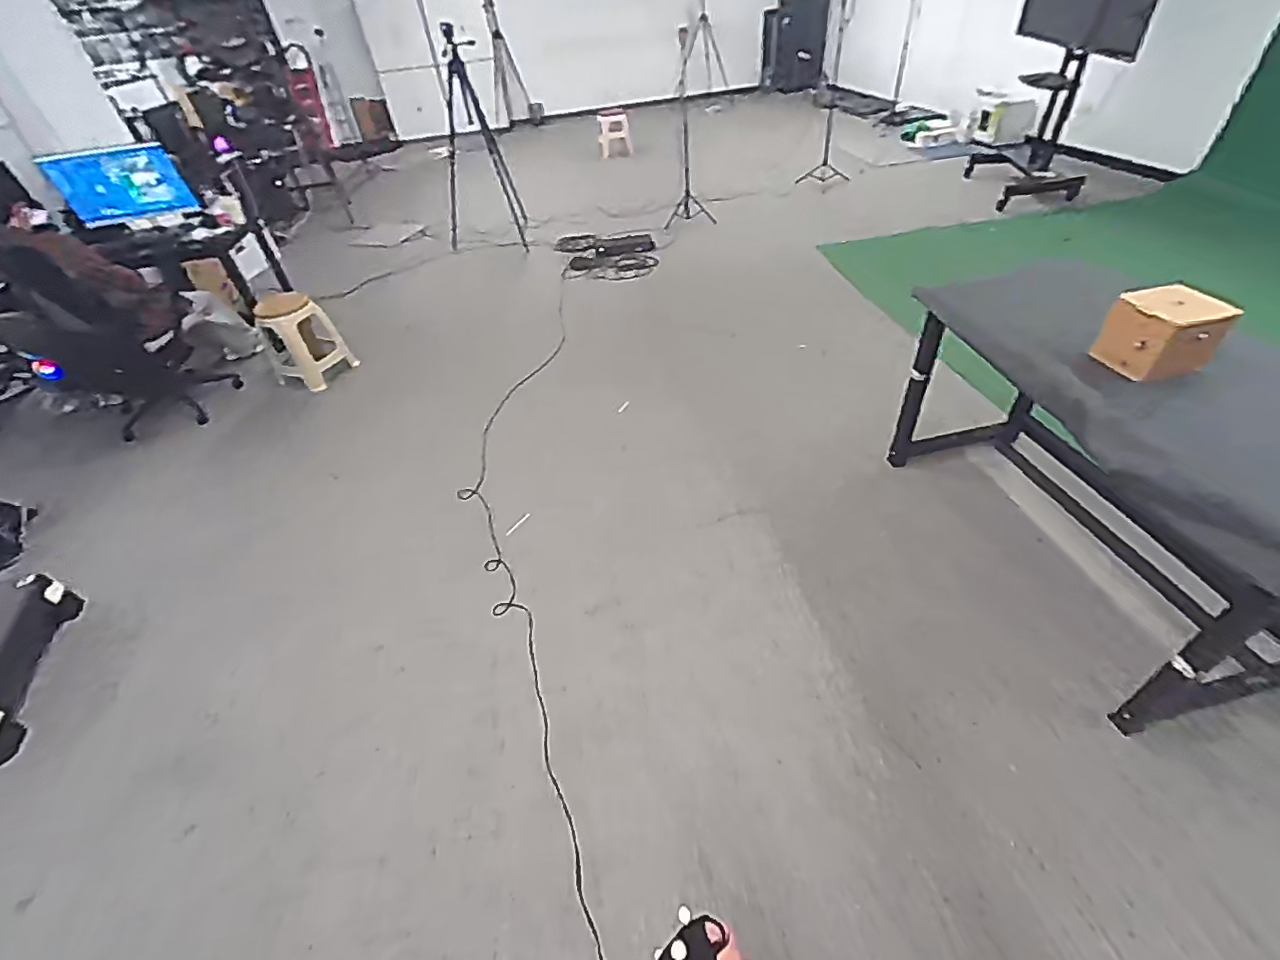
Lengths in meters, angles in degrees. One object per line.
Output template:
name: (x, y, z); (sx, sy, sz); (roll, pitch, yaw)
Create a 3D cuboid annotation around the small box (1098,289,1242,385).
small box: (1.312, -0.357, 1.362); (0.179, 0.176, 0.168); (-11, 44, -5)
